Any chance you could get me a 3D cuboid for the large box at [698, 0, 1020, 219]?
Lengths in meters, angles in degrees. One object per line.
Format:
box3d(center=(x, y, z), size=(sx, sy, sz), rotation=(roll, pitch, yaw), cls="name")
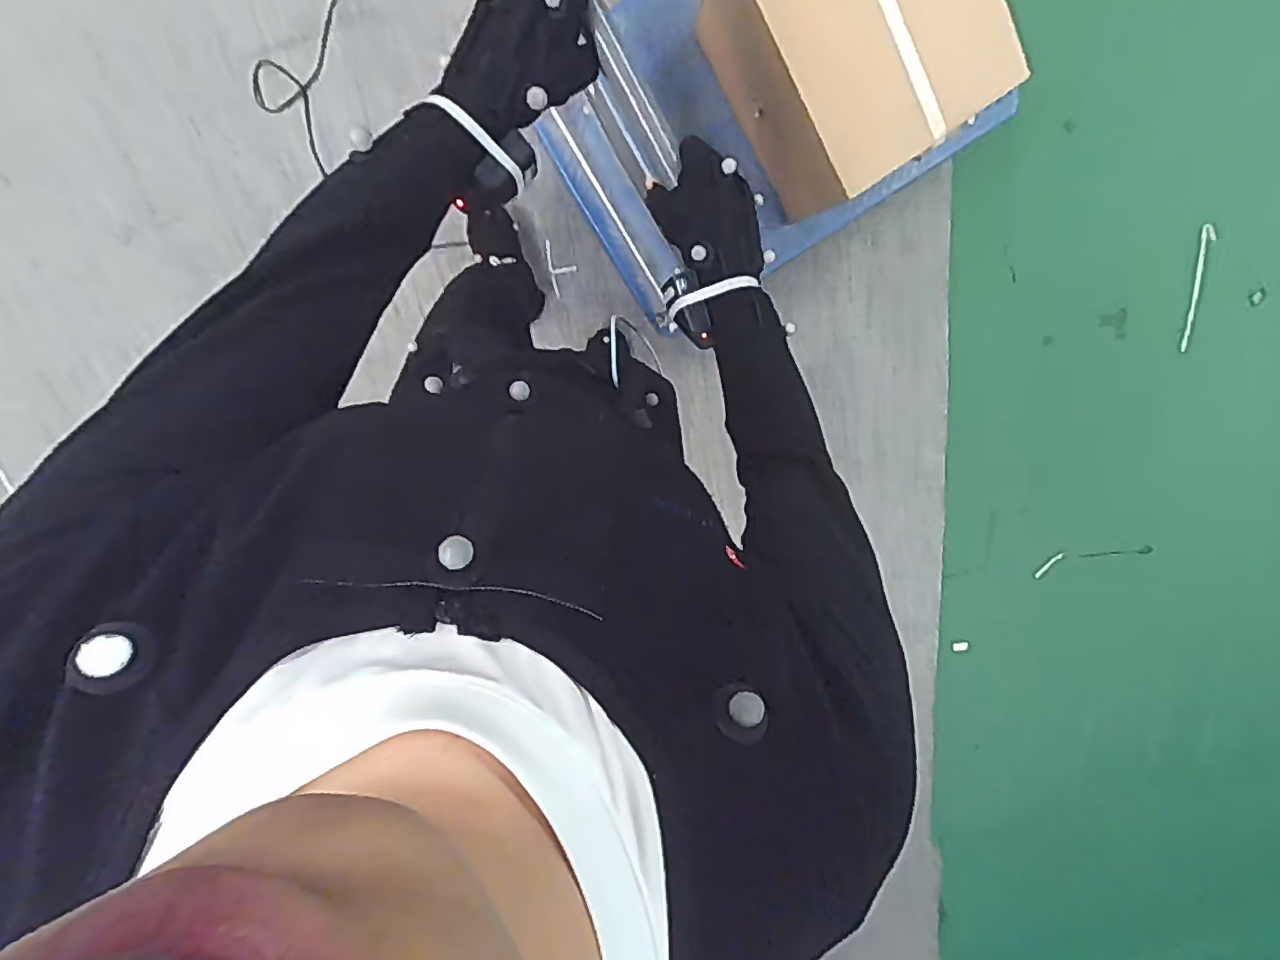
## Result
box3d(center=(0.347, -0.739, 0.936), size=(0.320, 0.320, 0.408), rotation=(-32, 107, 8), cls="large box")
